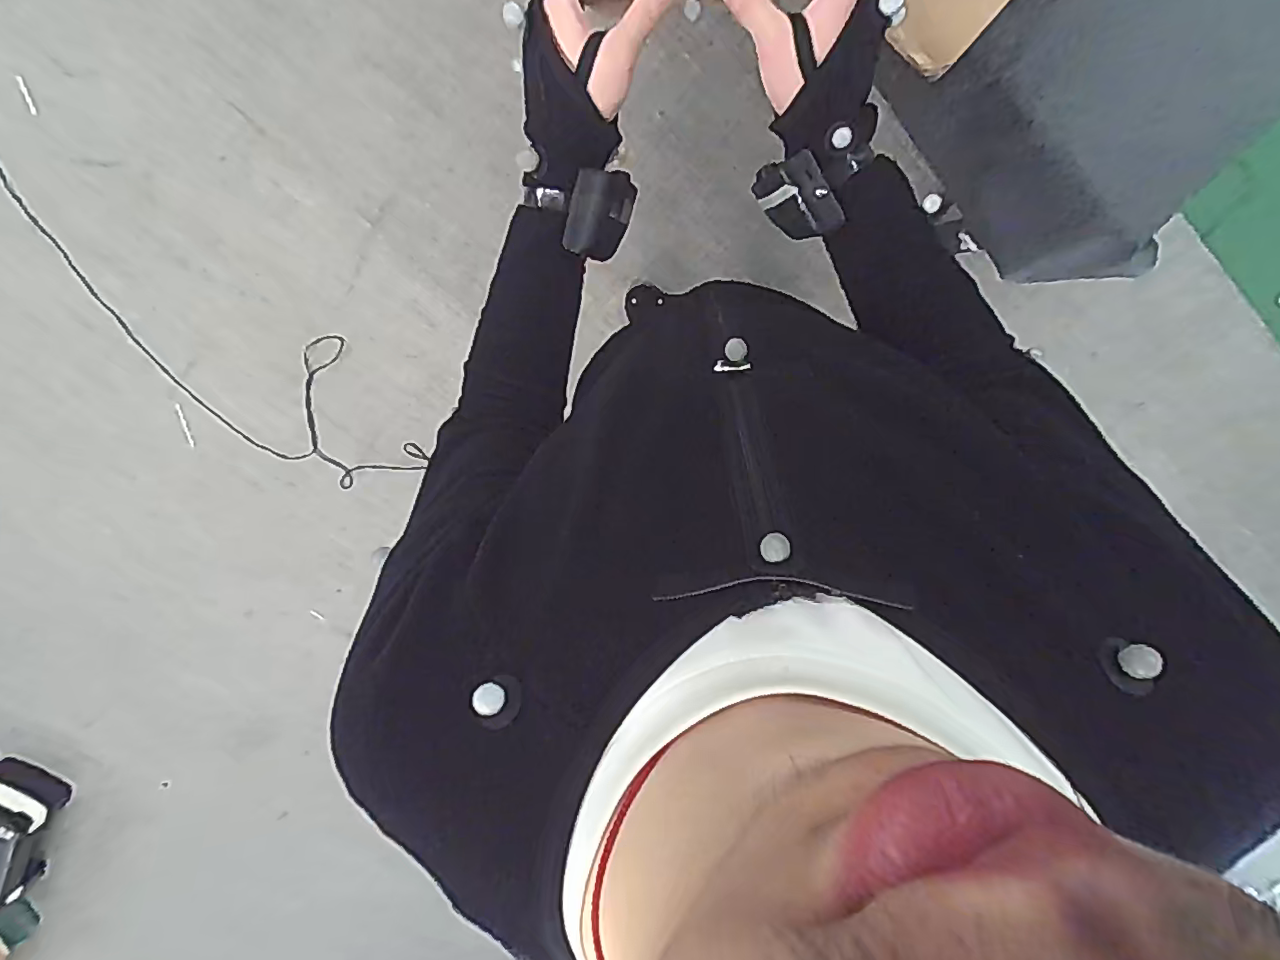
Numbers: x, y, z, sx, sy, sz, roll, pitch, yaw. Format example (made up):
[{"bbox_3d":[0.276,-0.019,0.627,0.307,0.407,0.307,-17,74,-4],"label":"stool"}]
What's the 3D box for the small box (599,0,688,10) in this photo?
[{"bbox_3d":[0.032,-0.452,0.371,0.168,0.176,0.179,-4,123,9],"label":"small box"}]
